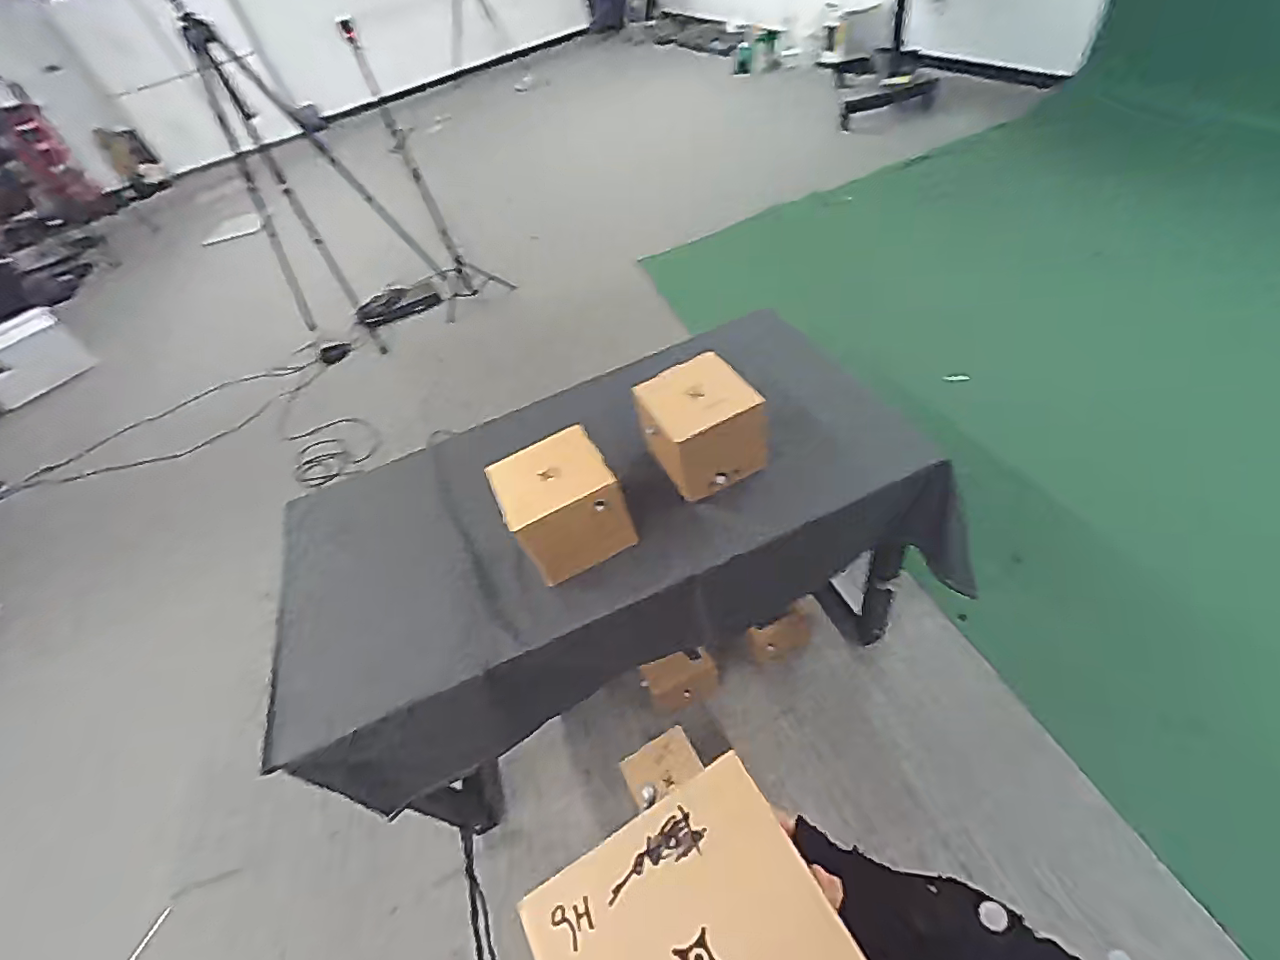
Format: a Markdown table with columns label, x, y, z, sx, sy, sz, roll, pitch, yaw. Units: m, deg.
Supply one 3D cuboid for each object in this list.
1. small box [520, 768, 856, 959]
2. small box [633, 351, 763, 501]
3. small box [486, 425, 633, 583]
| label | x | y | z | sx | sy | sz | roll | pitch | yaw |
| --- | --- | --- | --- | --- | --- | --- | --- | --- | --- |
| small box | 0.045 | 0.324 | 0.371 | 0.168 | 0.176 | 0.179 | -29 | 63 | -11 |
| small box | 0.107 | -0.096 | 0.977 | 0.168 | 0.176 | 0.179 | -26 | 48 | -7 |
| small box | -0.134 | 0.044 | 0.923 | 0.179 | 0.176 | 0.168 | -27 | 48 | -9 |
